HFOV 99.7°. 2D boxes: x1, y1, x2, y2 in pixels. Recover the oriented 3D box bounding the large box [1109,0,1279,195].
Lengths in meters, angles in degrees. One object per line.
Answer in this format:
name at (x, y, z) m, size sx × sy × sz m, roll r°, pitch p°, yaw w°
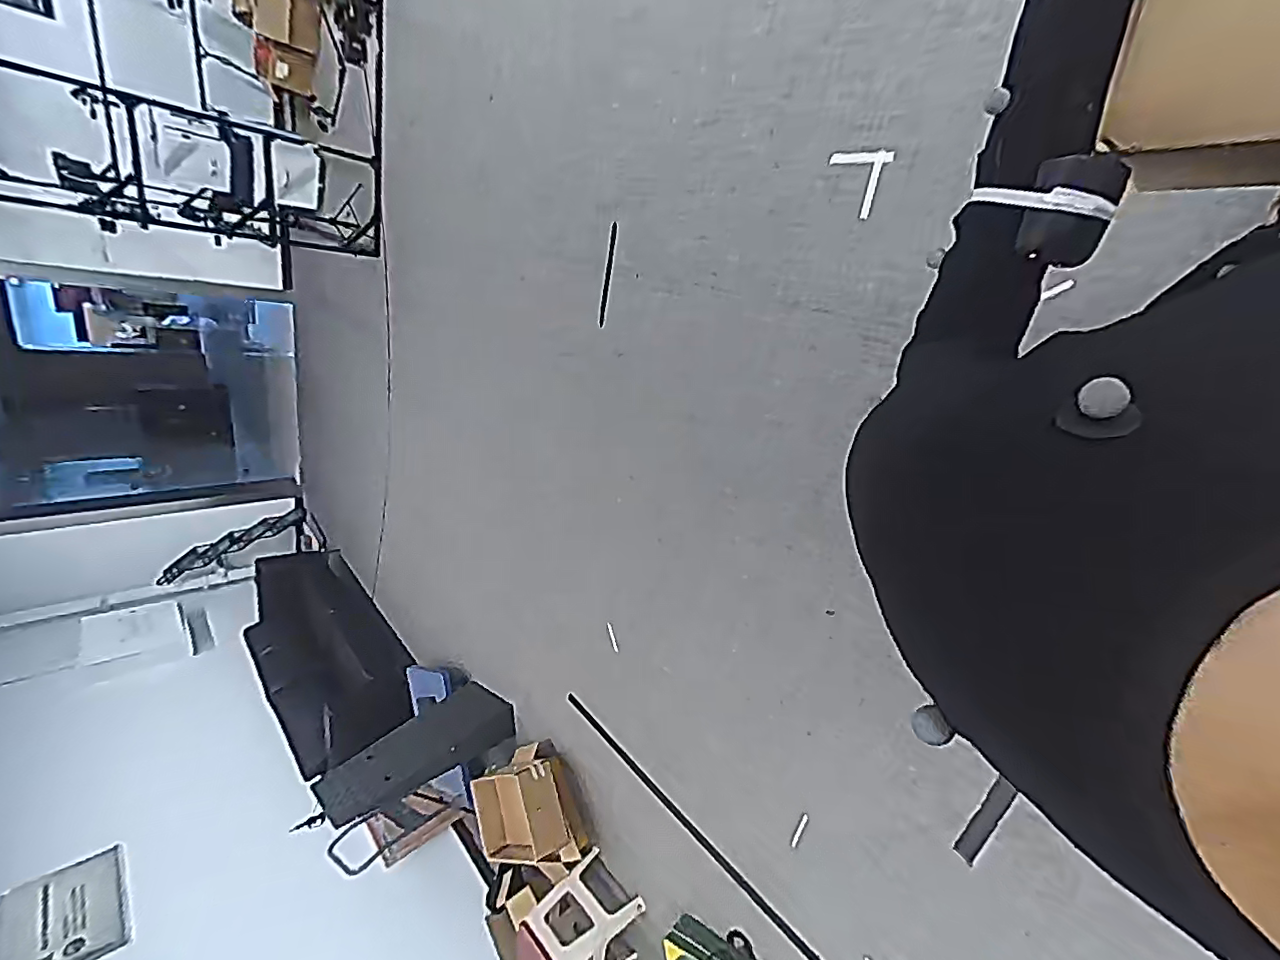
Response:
large box at (0.566, -0.357, 0.293) m, size 0.408 × 0.320 × 0.320 m, roll 20°, pitch 120°, yaw 40°
